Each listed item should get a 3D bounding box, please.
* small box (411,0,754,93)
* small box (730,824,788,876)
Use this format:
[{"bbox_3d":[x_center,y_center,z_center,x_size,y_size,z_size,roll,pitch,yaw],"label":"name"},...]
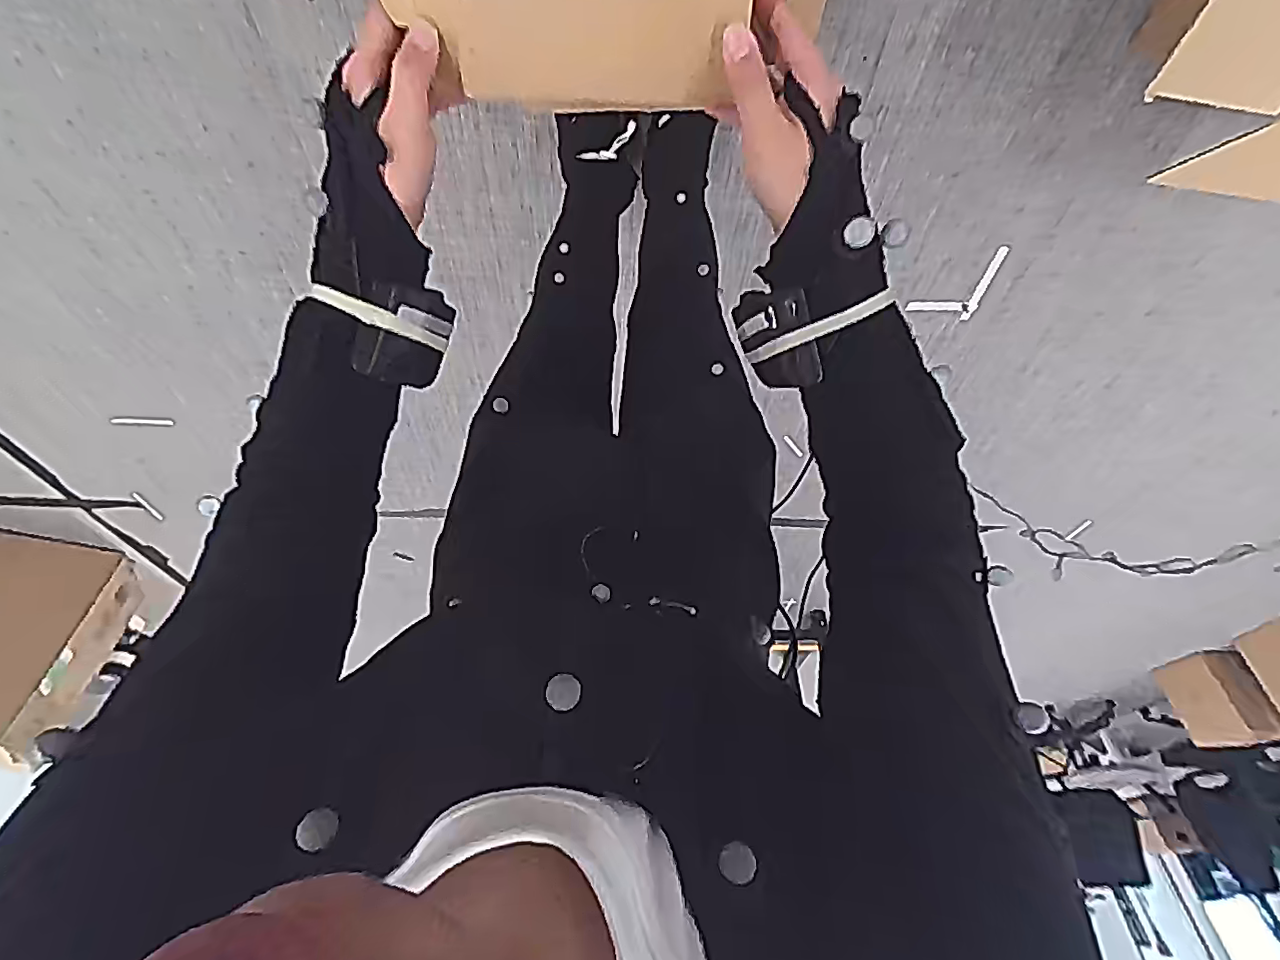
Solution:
[{"bbox_3d":[-0.025,-0.330,0.281,0.179,0.176,0.168,2,144,1],"label":"small box"},{"bbox_3d":[0.474,1.497,2.200,0.179,0.168,0.176,-3,143,-11],"label":"small box"}]
